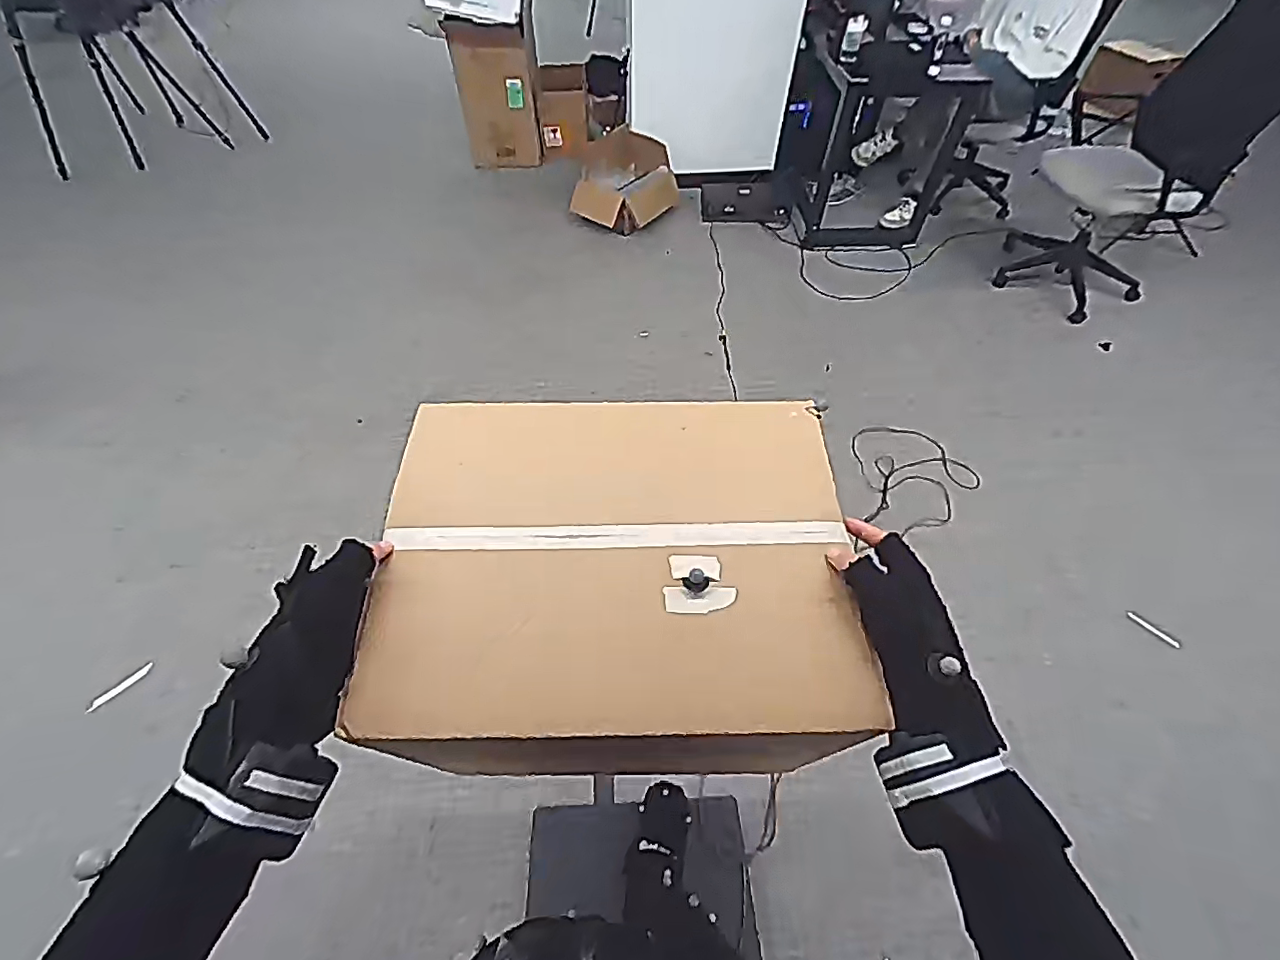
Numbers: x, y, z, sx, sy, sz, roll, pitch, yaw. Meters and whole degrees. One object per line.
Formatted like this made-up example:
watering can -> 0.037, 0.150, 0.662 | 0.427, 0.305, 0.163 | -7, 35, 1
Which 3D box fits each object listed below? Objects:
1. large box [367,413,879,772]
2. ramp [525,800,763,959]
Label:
large box -> -0.018, 0.139, 0.617 | 0.408, 0.320, 0.320 | 0, 57, -1
ramp -> 0.017, 1.132, 0.950 | 0.509, 0.206, 0.991 | -4, 53, -2
